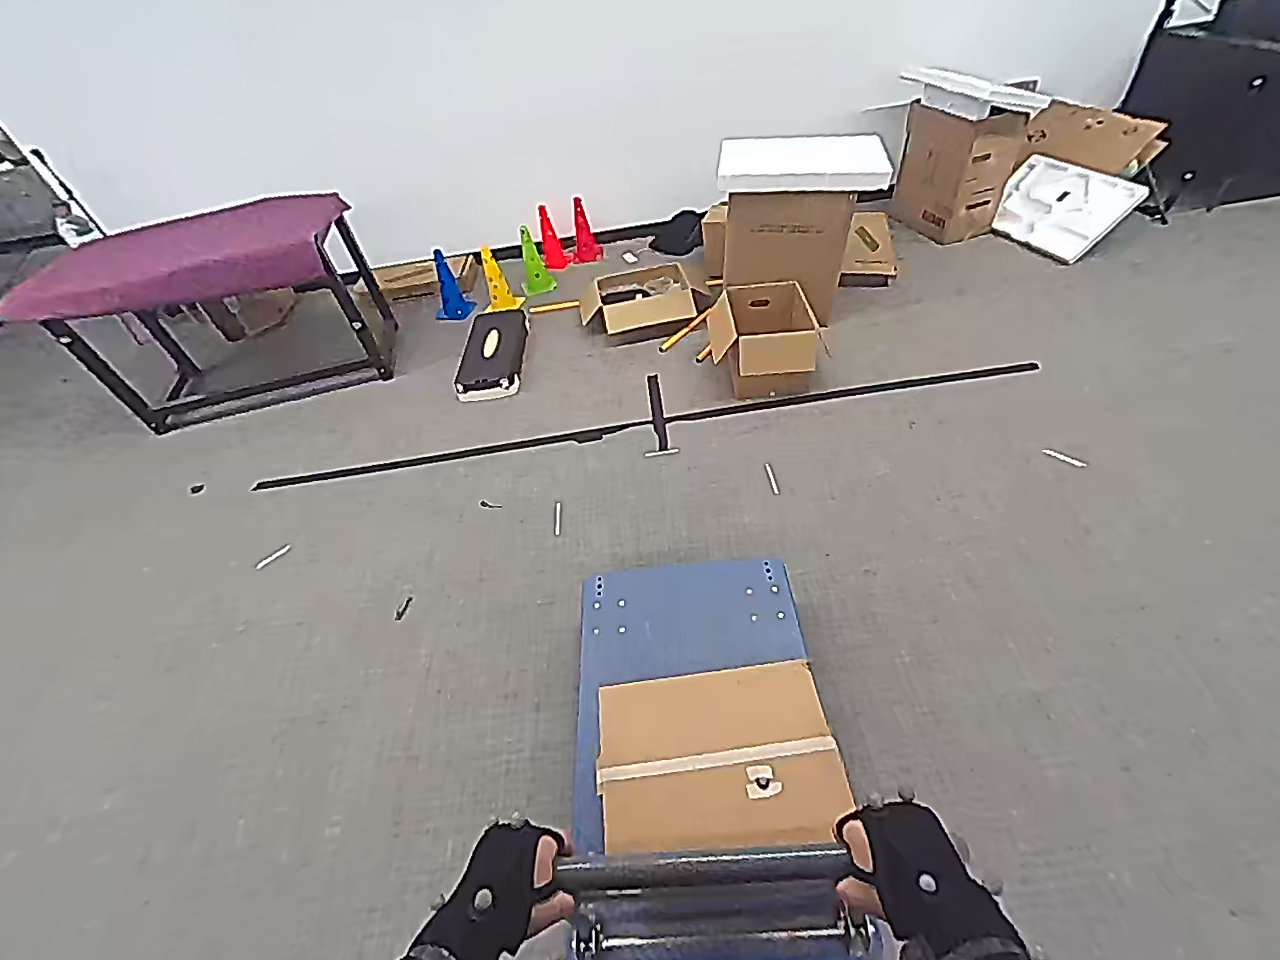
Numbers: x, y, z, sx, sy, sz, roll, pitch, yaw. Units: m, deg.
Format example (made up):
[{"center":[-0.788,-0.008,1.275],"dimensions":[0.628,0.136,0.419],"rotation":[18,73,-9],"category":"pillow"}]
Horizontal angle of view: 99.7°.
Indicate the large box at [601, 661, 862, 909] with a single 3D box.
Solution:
[{"center":[0.150,0.591,1.047],"dimensions":[0.408,0.320,0.320],"rotation":[-8,46,0],"category":"large box"}]
